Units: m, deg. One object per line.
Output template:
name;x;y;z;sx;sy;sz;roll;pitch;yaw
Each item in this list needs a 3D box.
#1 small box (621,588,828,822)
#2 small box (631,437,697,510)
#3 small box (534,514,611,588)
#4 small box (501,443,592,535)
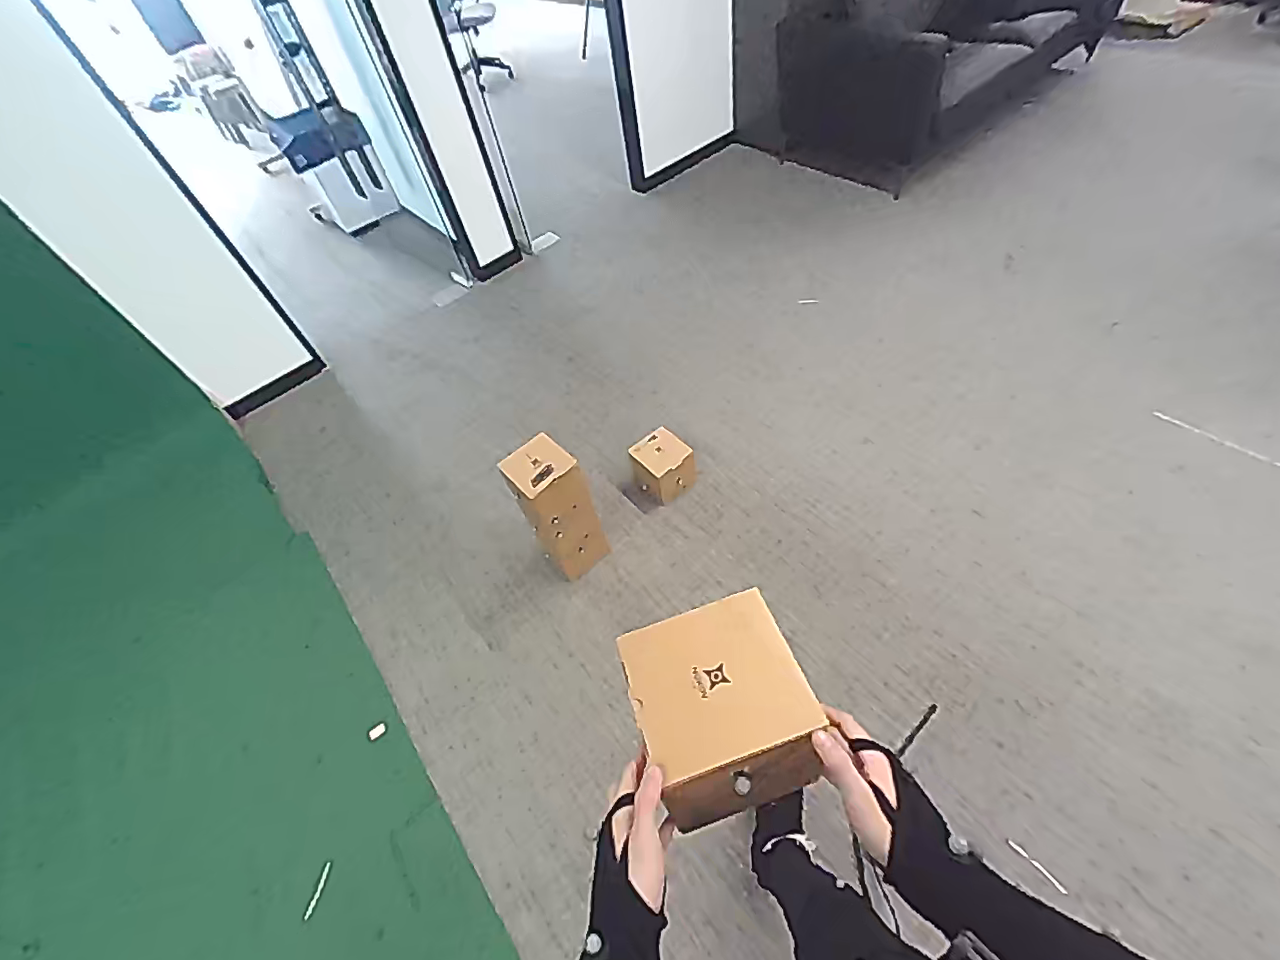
small box;0.095;0.259;0.623;0.179;0.176;0.168;-20;43;-2
small box;0.091;-0.015;1.945;0.168;0.176;0.179;-35;55;-18
small box;-0.219;0.229;1.809;0.179;0.176;0.168;-37;55;-19
small box;-0.261;0.032;1.549;0.168;0.176;0.179;-38;54;-19
